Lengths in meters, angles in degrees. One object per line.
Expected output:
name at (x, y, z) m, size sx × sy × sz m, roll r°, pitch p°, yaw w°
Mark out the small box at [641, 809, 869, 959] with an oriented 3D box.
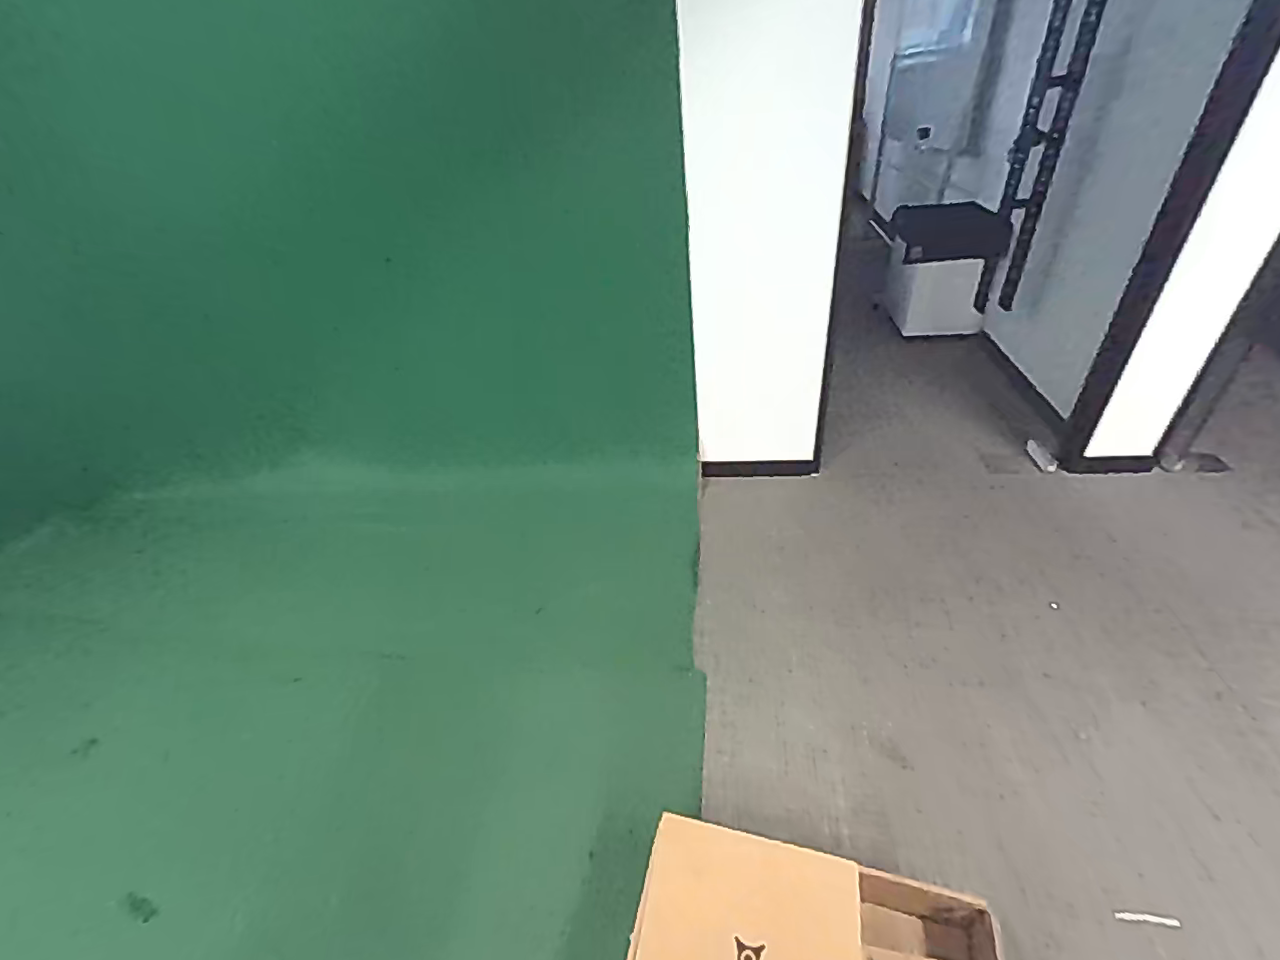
small box at (0.084, 0.412, 0.448) m, size 0.168 × 0.176 × 0.179 m, roll 8°, pitch 44°, yaw 11°
